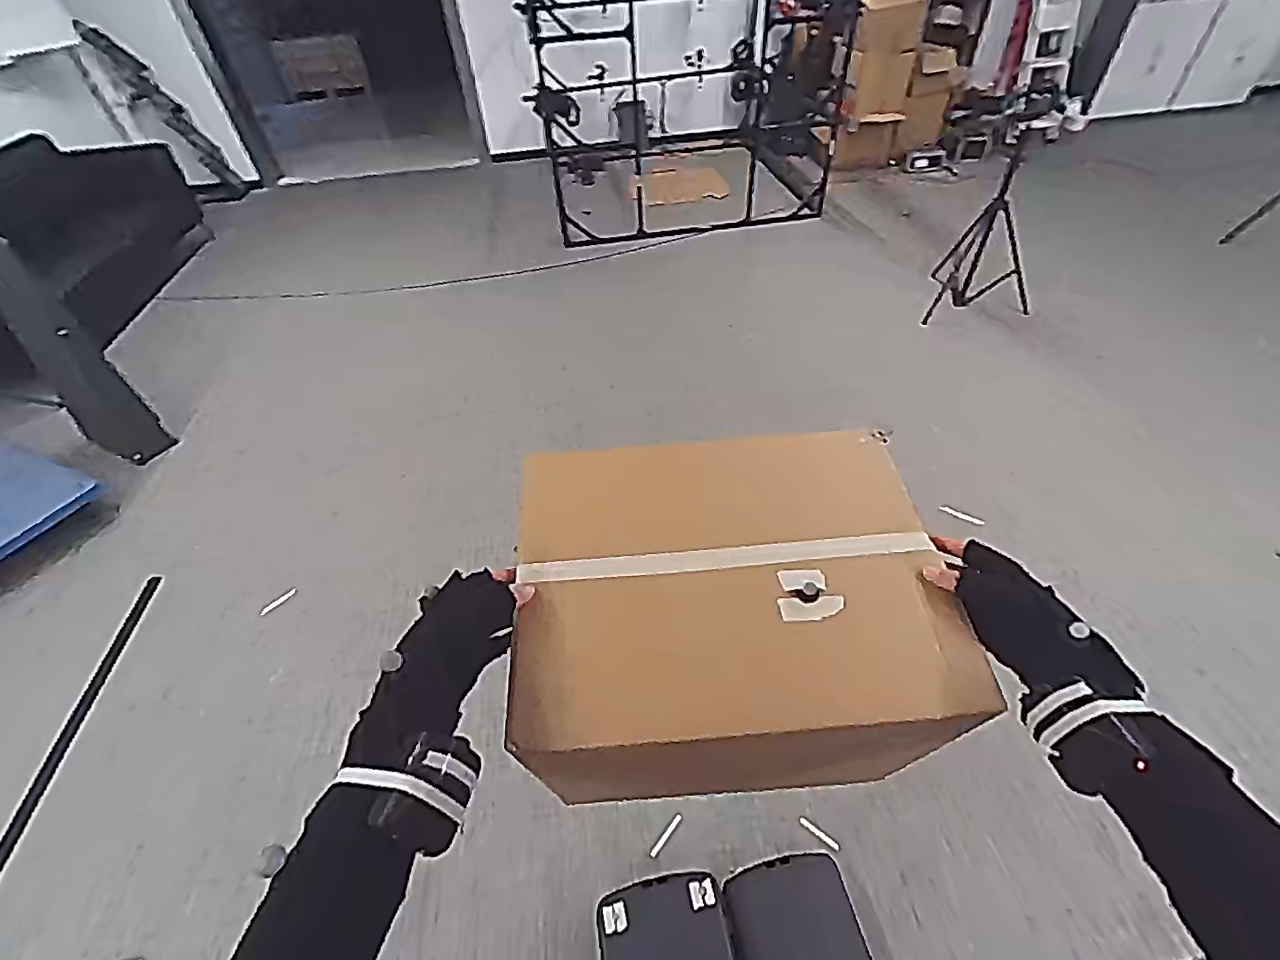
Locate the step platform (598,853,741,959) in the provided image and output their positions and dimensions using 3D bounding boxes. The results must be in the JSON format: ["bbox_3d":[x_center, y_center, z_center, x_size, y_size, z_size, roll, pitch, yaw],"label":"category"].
[{"bbox_3d":[0.103,1.159,1.073,0.286,0.204,0.684,-11,45,-6],"label":"step platform"}]

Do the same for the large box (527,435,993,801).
[{"bbox_3d":[0.094,0.174,0.656,0.408,0.320,0.320,-4,53,-1],"label":"large box"}]
